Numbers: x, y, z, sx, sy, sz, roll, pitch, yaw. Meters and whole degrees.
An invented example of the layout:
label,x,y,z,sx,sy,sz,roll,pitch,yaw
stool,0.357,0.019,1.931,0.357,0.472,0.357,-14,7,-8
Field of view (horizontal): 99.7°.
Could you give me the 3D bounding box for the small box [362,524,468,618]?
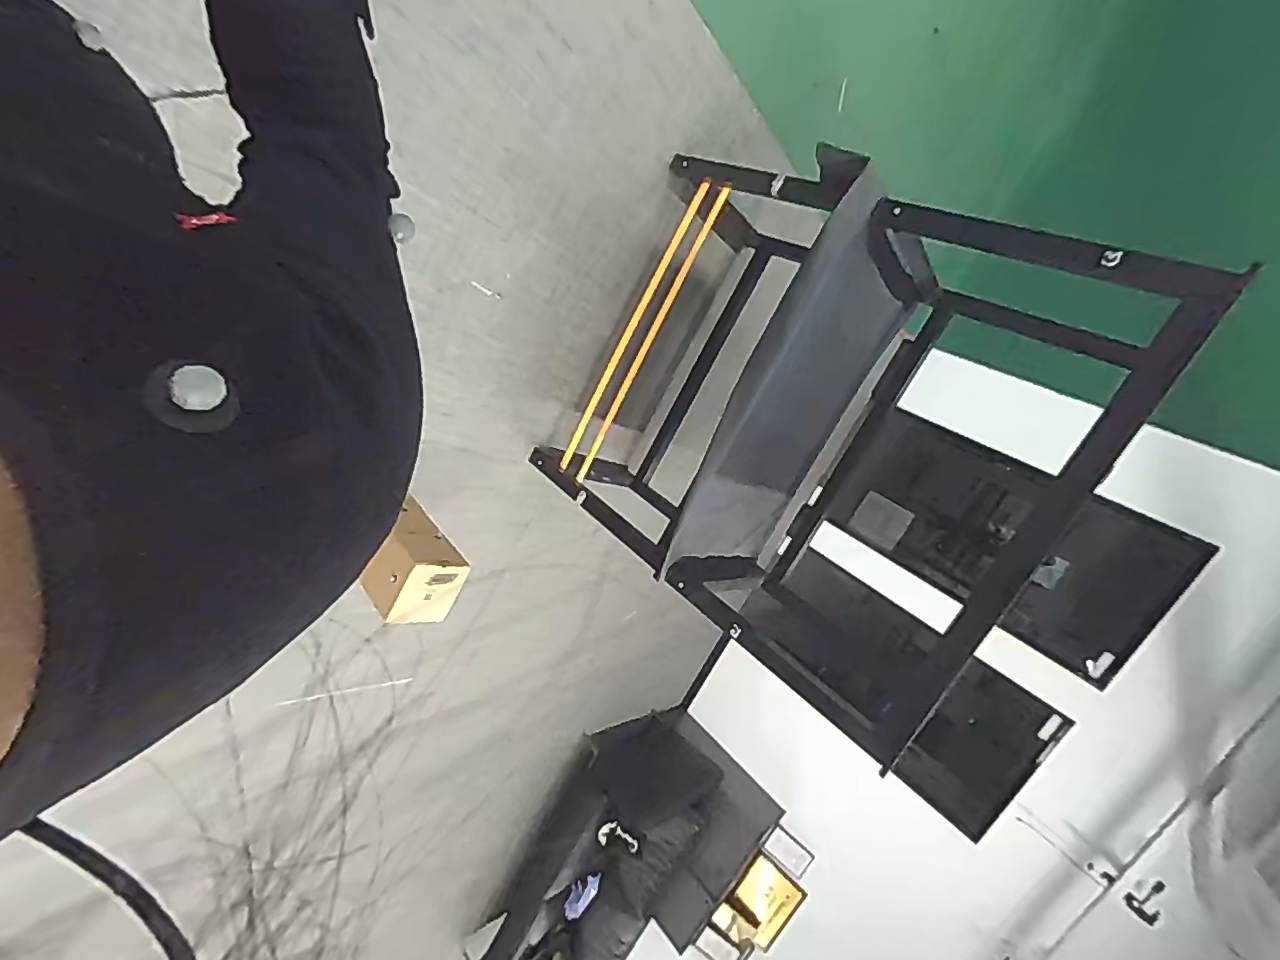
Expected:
label,x,y,z,sx,sy,sz,roll,pitch,yaw
small box,-0.586,0.233,1.397,0.168,0.176,0.179,18,106,-53
